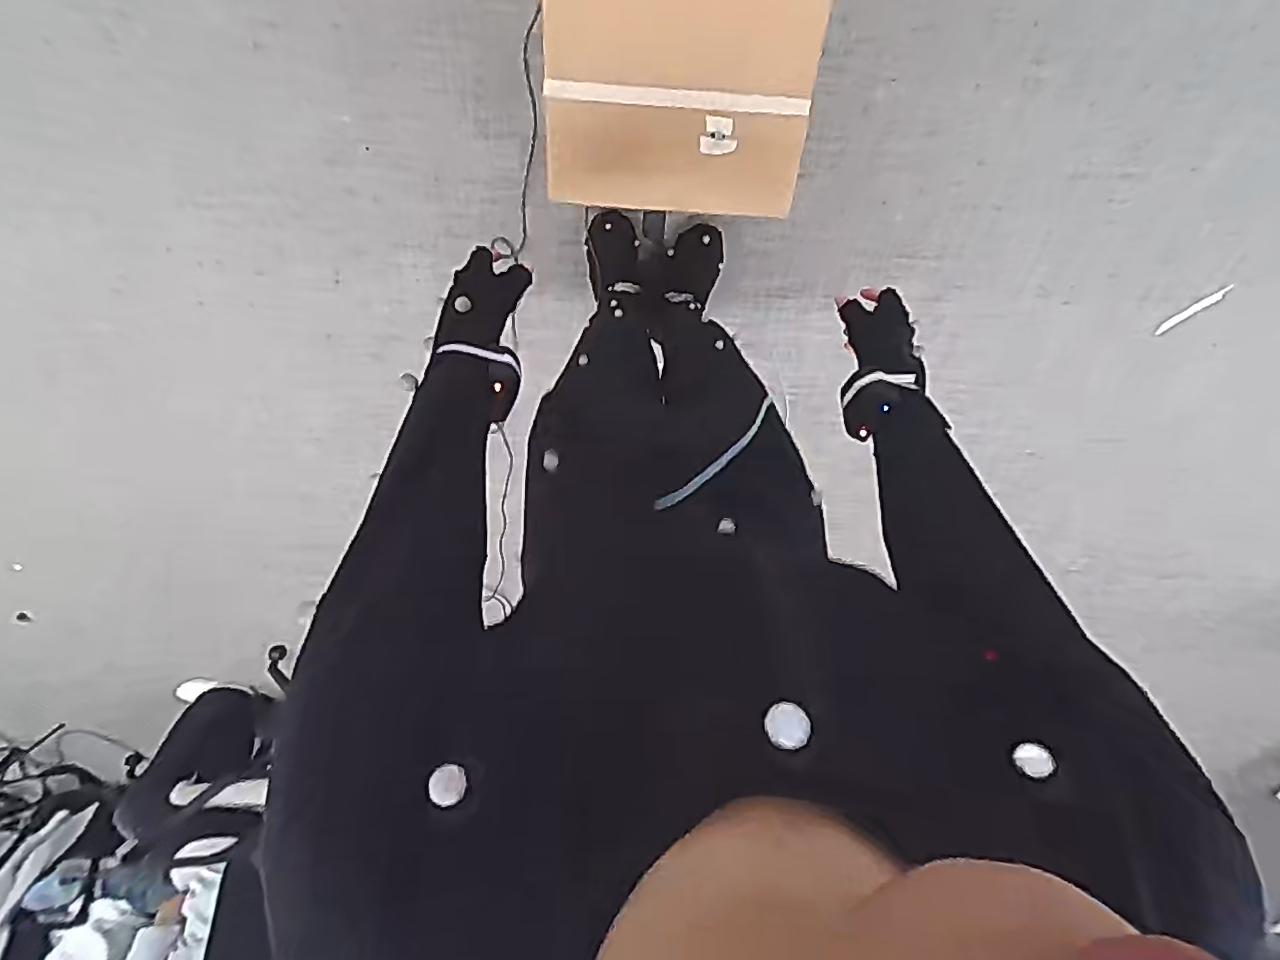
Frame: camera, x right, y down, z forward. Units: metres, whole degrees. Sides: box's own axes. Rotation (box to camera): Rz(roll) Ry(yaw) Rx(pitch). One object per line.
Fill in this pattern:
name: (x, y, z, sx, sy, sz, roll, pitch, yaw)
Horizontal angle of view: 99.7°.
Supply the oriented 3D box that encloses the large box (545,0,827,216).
large box: (0.055, -0.665, 0.949, 0.408, 0.320, 0.320, 2, 125, -4)
